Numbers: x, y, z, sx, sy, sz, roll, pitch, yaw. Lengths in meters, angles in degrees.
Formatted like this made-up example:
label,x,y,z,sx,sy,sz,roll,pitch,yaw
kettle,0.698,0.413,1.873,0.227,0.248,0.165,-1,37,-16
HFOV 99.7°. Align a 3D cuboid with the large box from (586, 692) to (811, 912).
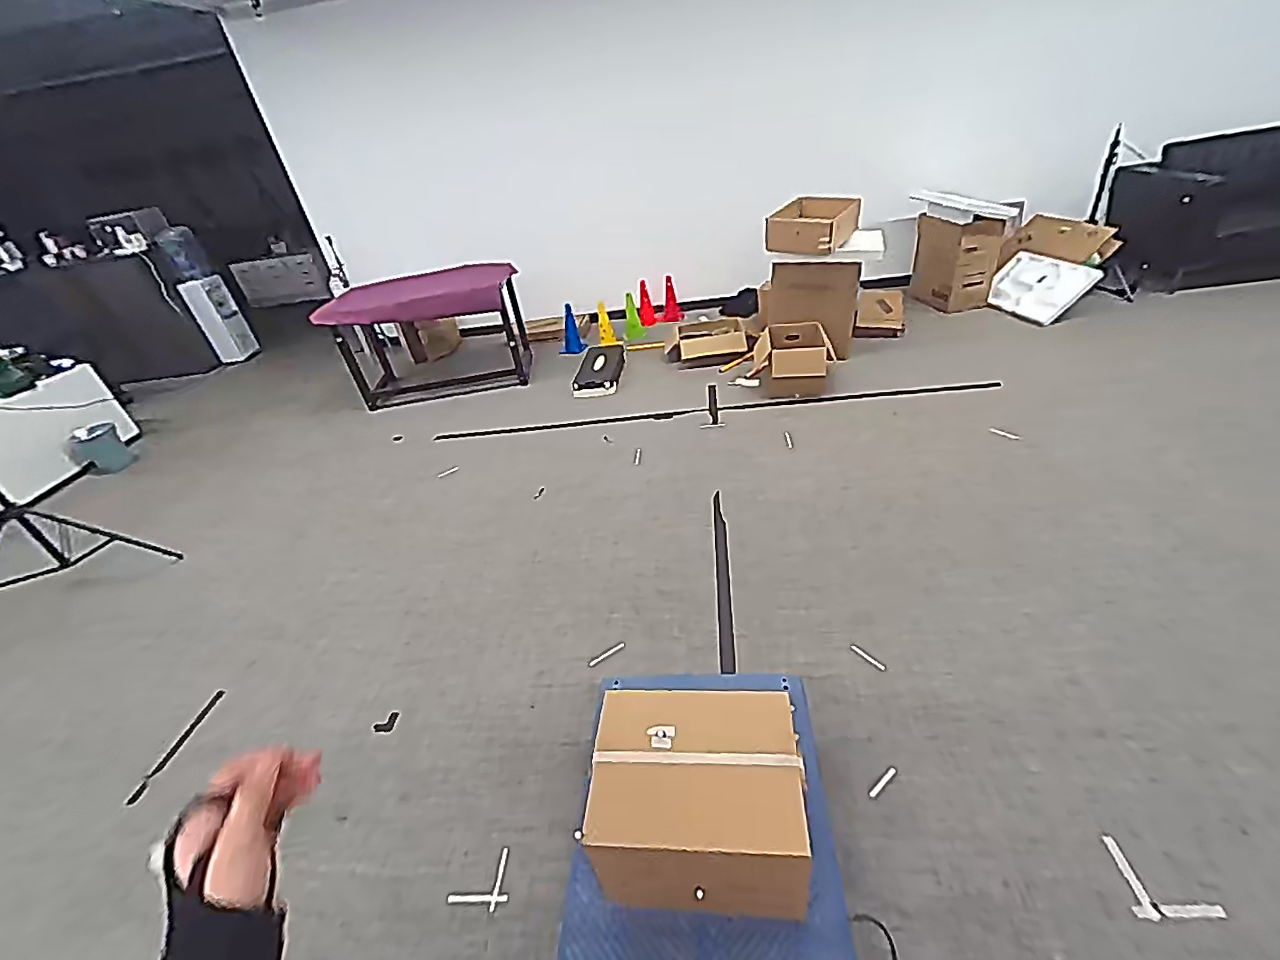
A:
label,x,y,z,sx,sy,sz,roll,pitch,yaw
large box,0.131,0.686,1.159,0.408,0.320,0.320,-5,34,9
